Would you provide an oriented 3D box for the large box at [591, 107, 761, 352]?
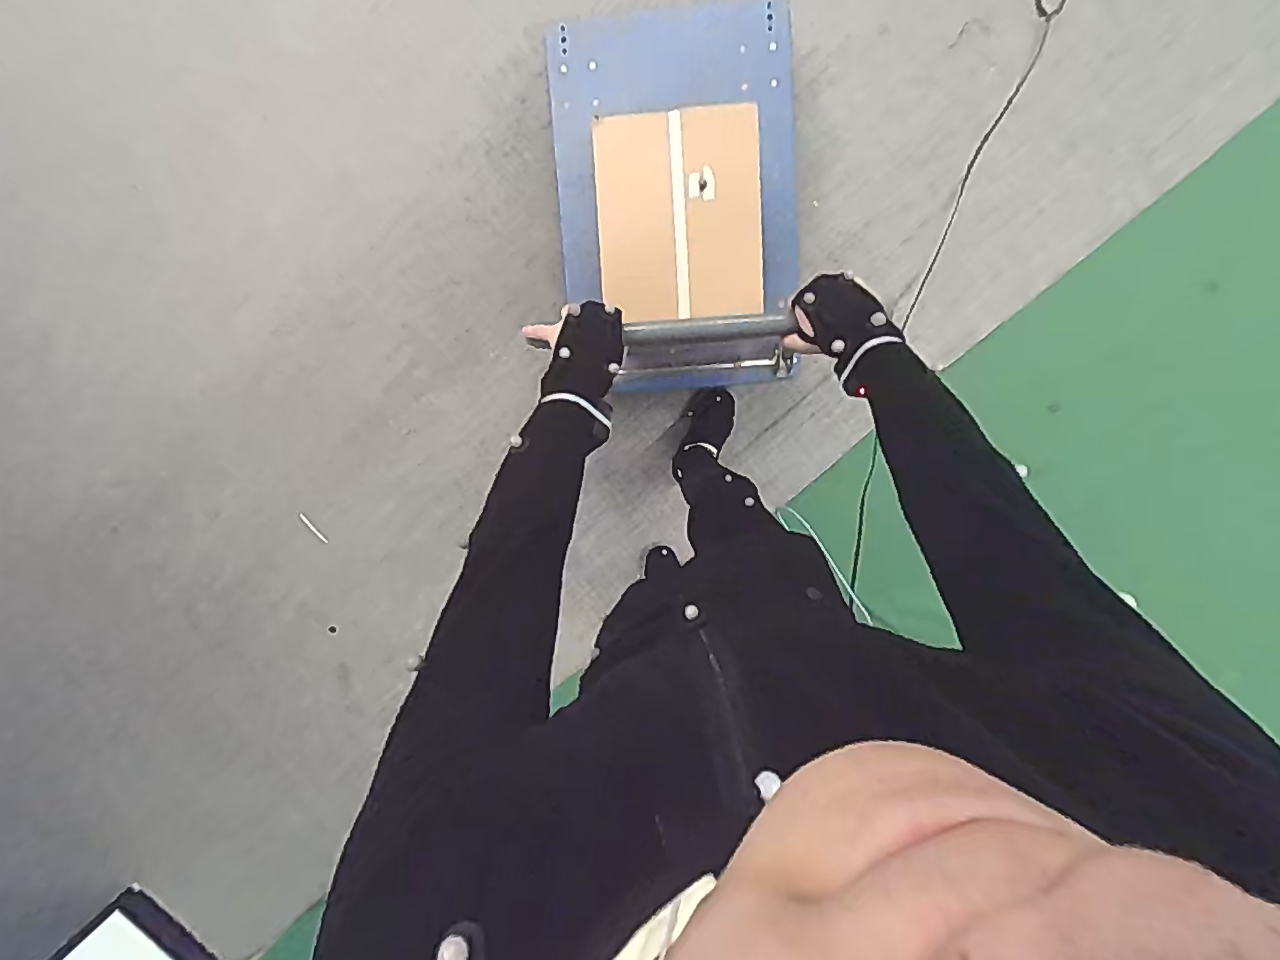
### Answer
[{"bbox_3d":[0.080,-0.516,1.199,0.320,0.320,0.408,-3,96,3],"label":"large box"}]
